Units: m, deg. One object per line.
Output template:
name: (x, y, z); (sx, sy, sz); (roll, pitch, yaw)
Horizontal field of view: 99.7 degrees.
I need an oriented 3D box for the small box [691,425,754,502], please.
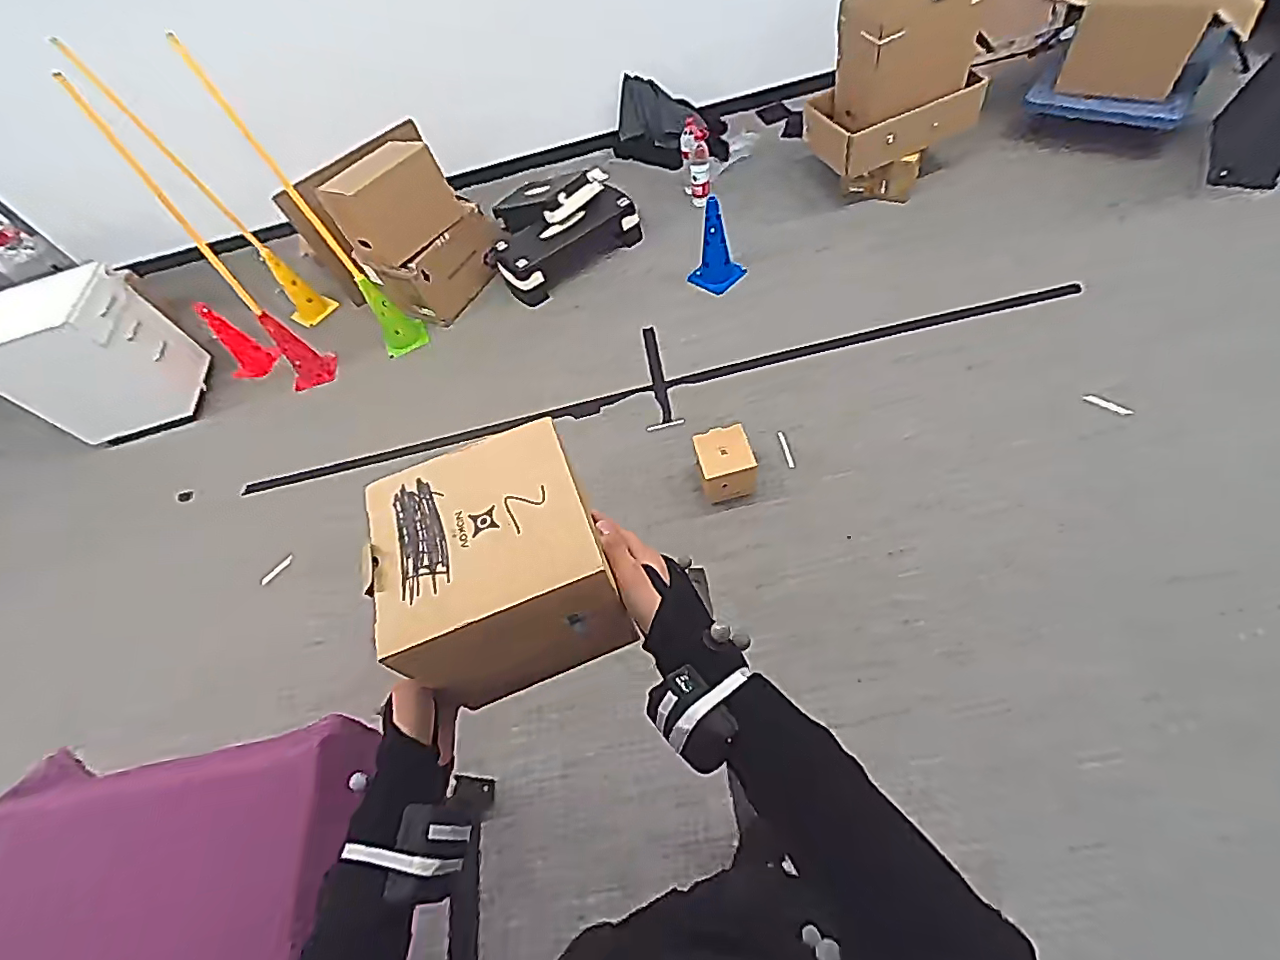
small box: (0.274, -0.046, 1.770); (0.168, 0.176, 0.179); (-15, 56, 2)
